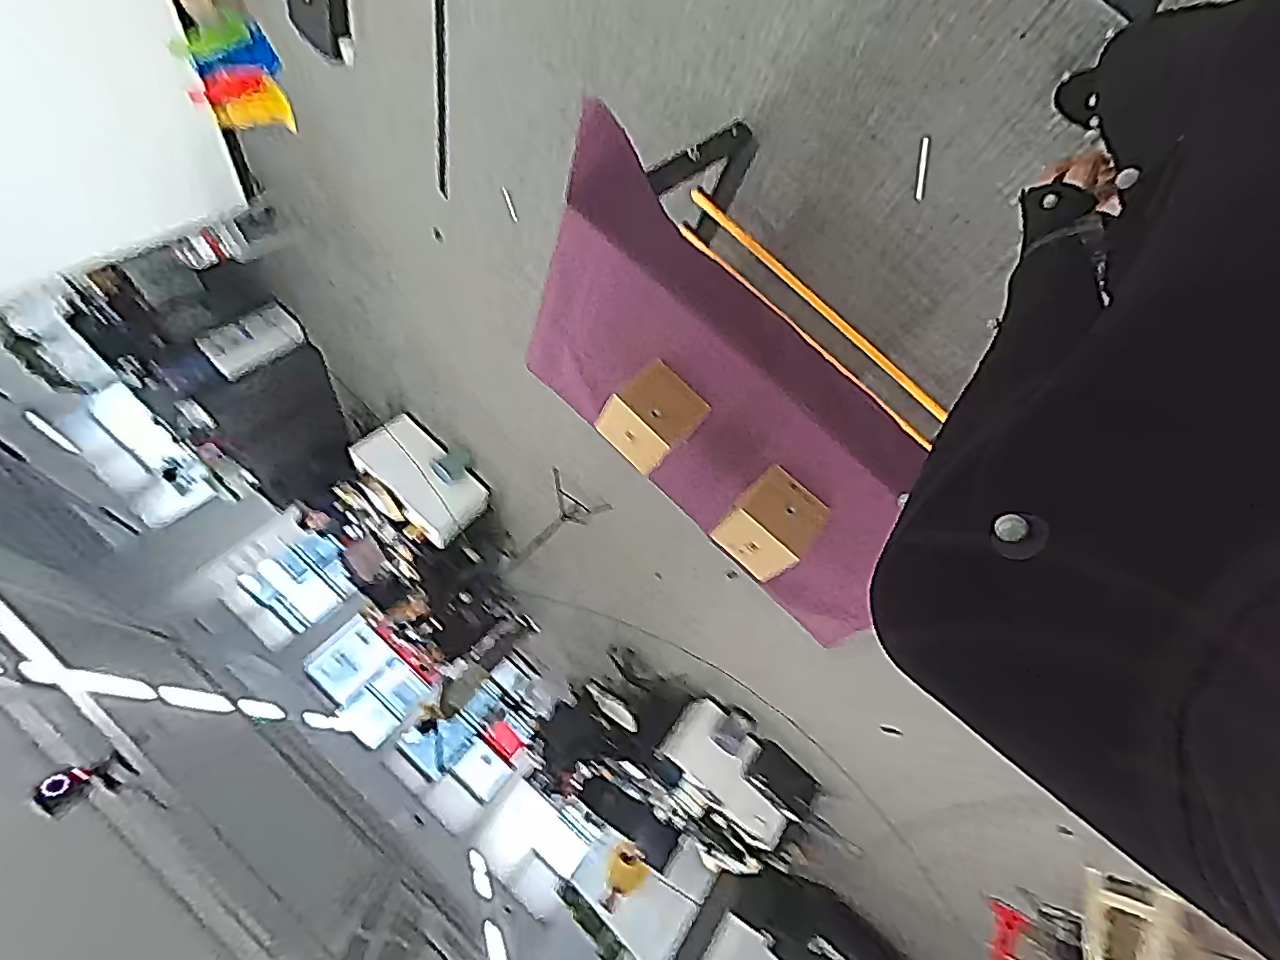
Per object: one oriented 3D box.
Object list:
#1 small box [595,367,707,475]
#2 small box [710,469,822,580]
[{"bbox_3d":[0.026,-0.149,1.304,0.179,0.176,0.168,43,150,1],"label":"small box"},{"bbox_3d":[0.302,0.103,1.278,0.168,0.176,0.179,42,150,5],"label":"small box"}]
